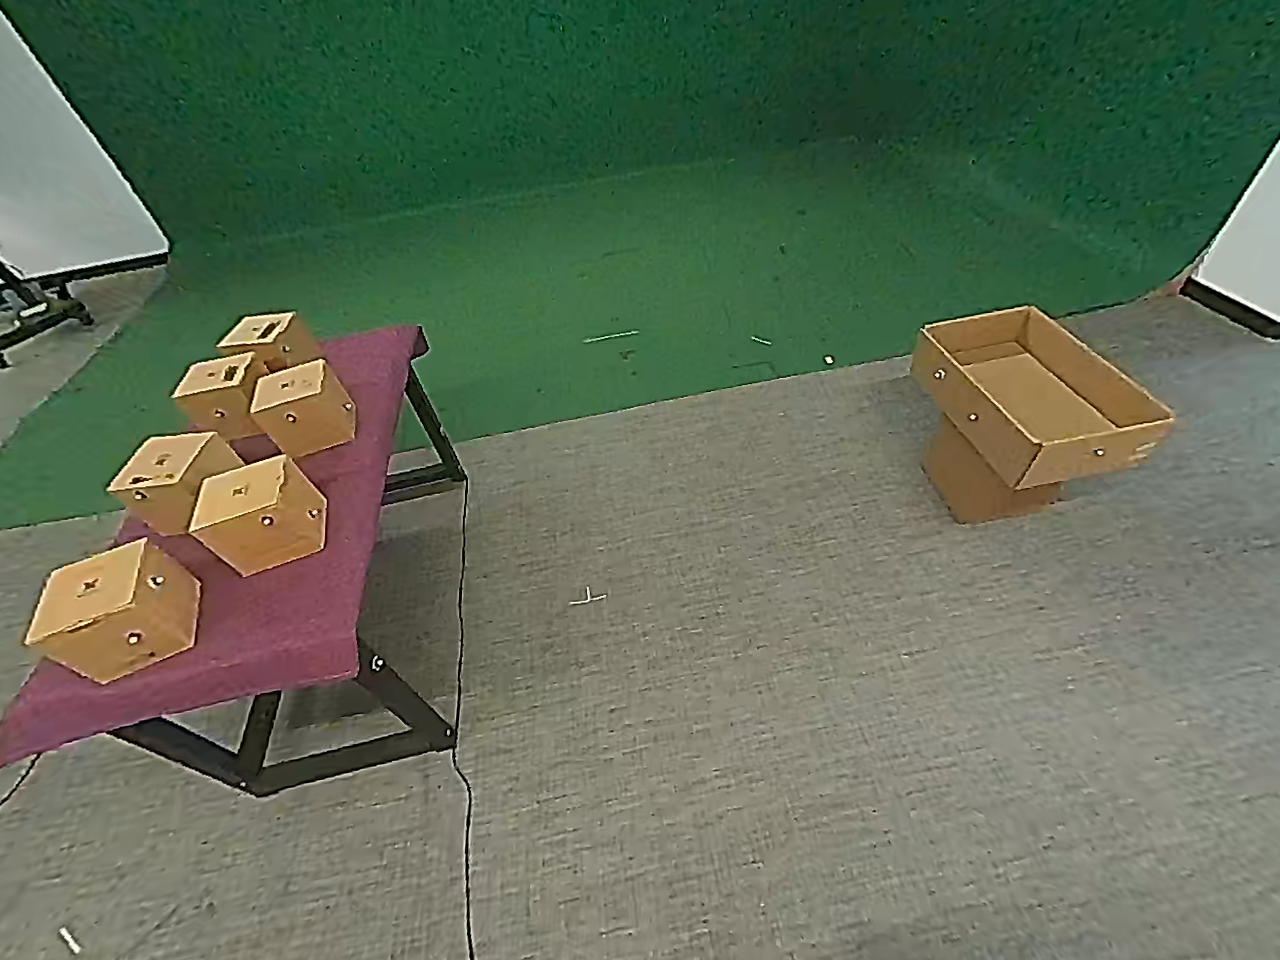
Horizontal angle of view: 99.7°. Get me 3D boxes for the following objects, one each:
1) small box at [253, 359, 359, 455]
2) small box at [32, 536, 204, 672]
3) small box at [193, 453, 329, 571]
[{"bbox_3d":[-0.887,-0.192,1.453,0.179,0.176,0.168,-19,48,-8],"label":"small box"},{"bbox_3d":[-1.001,0.249,1.058,0.168,0.176,0.179,-22,47,-14],"label":"small box"},{"bbox_3d":[-0.824,0.074,1.196,0.179,0.176,0.168,-20,47,-9],"label":"small box"}]
